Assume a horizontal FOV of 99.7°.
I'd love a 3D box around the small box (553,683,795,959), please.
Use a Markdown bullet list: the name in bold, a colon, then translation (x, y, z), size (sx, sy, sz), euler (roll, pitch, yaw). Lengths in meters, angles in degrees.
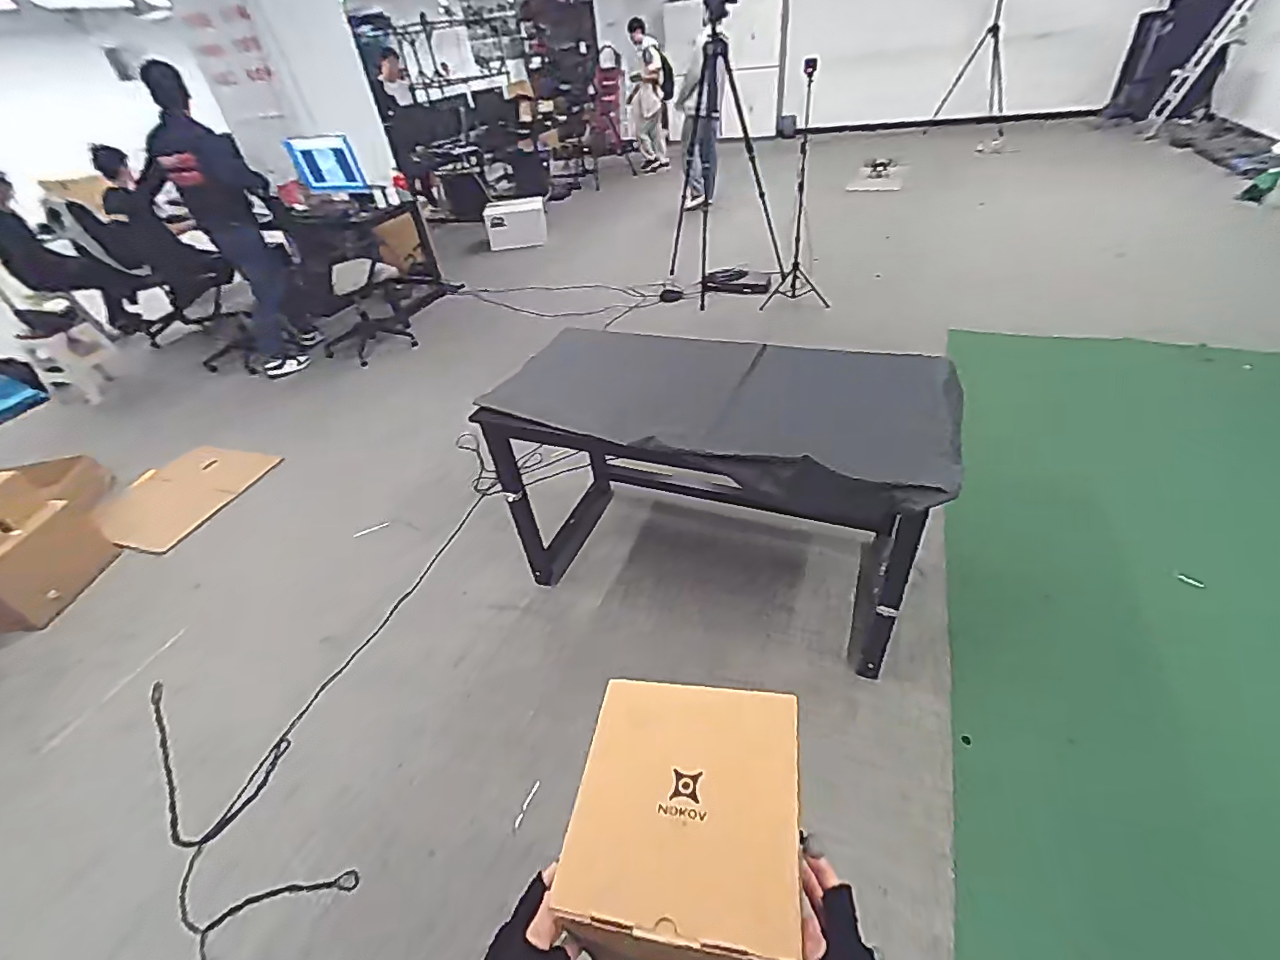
- **small box**: translation (0.047, 0.305, 0.465), size (0.168, 0.176, 0.179), euler (-1, 40, 16)
